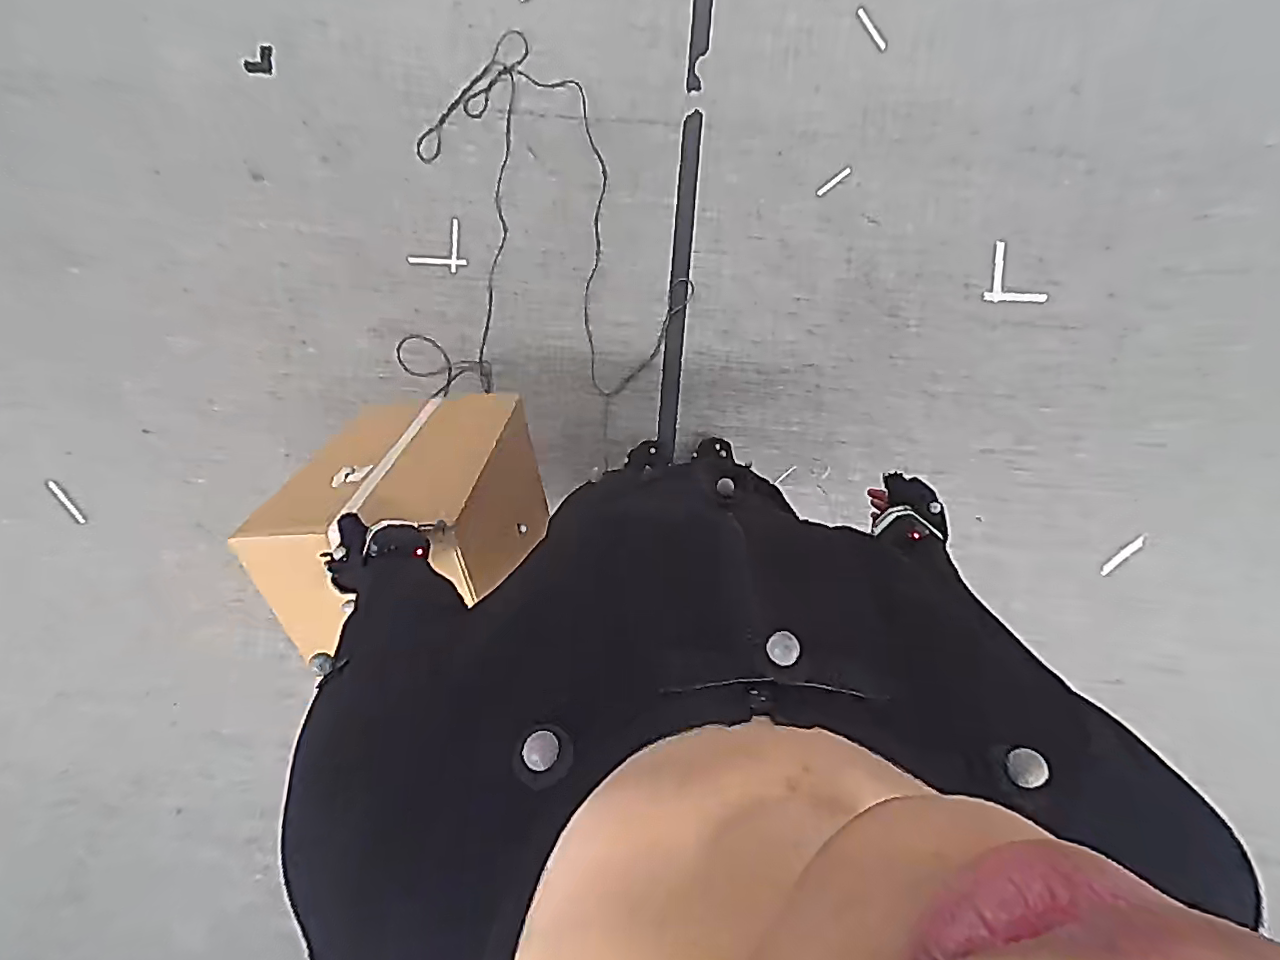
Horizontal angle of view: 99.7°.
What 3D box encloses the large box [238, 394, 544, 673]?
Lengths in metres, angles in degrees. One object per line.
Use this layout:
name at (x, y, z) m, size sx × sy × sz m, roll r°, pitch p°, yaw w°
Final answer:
large box at (-0.377, 0.079, 0.963) m, size 0.320 × 0.408 × 0.320 m, roll -4°, pitch 125°, yaw 5°
